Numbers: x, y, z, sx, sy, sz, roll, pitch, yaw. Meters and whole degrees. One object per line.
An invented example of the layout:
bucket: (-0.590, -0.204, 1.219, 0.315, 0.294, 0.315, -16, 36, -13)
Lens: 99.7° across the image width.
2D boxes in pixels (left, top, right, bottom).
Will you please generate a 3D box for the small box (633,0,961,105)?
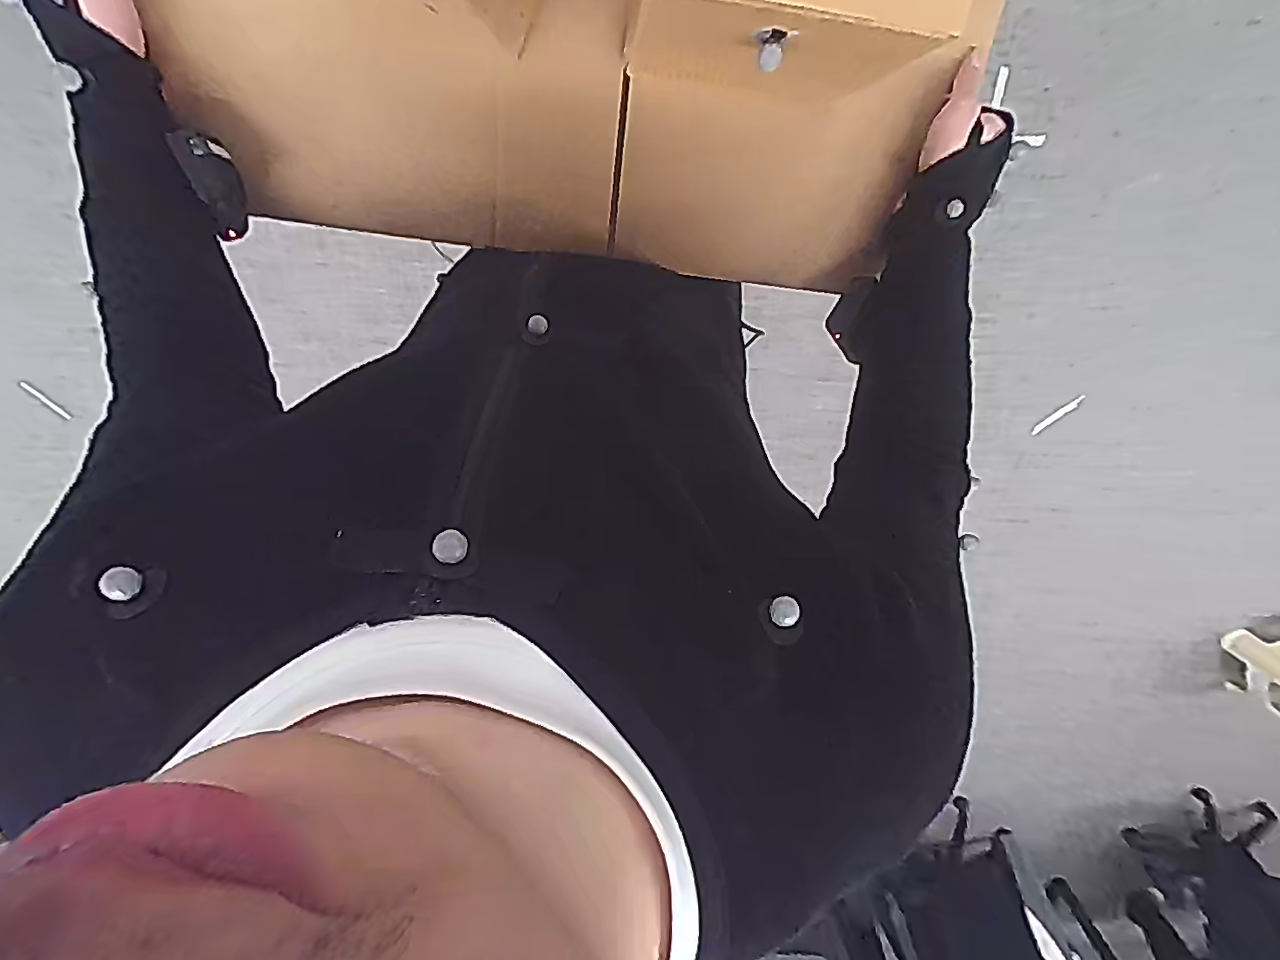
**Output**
small box: (0.095, -0.360, 0.345, 0.179, 0.176, 0.168, 4, 114, -7)
